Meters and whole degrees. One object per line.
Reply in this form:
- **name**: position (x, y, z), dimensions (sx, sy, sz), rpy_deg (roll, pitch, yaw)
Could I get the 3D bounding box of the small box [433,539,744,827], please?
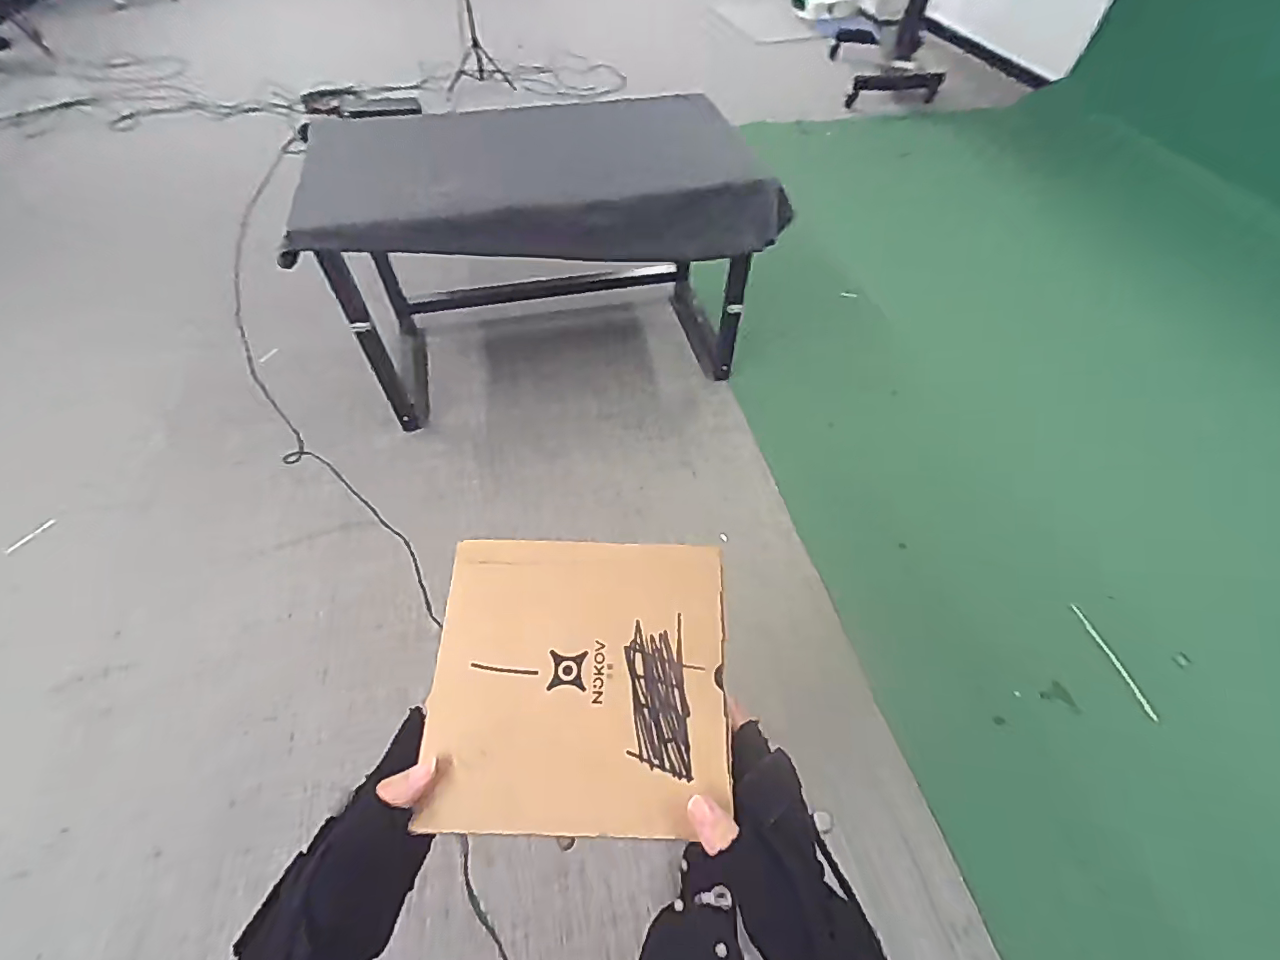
- **small box**: position (-0.035, 0.149, 0.405), dimensions (0.179, 0.176, 0.168), rpy_deg (0, 64, -4)
